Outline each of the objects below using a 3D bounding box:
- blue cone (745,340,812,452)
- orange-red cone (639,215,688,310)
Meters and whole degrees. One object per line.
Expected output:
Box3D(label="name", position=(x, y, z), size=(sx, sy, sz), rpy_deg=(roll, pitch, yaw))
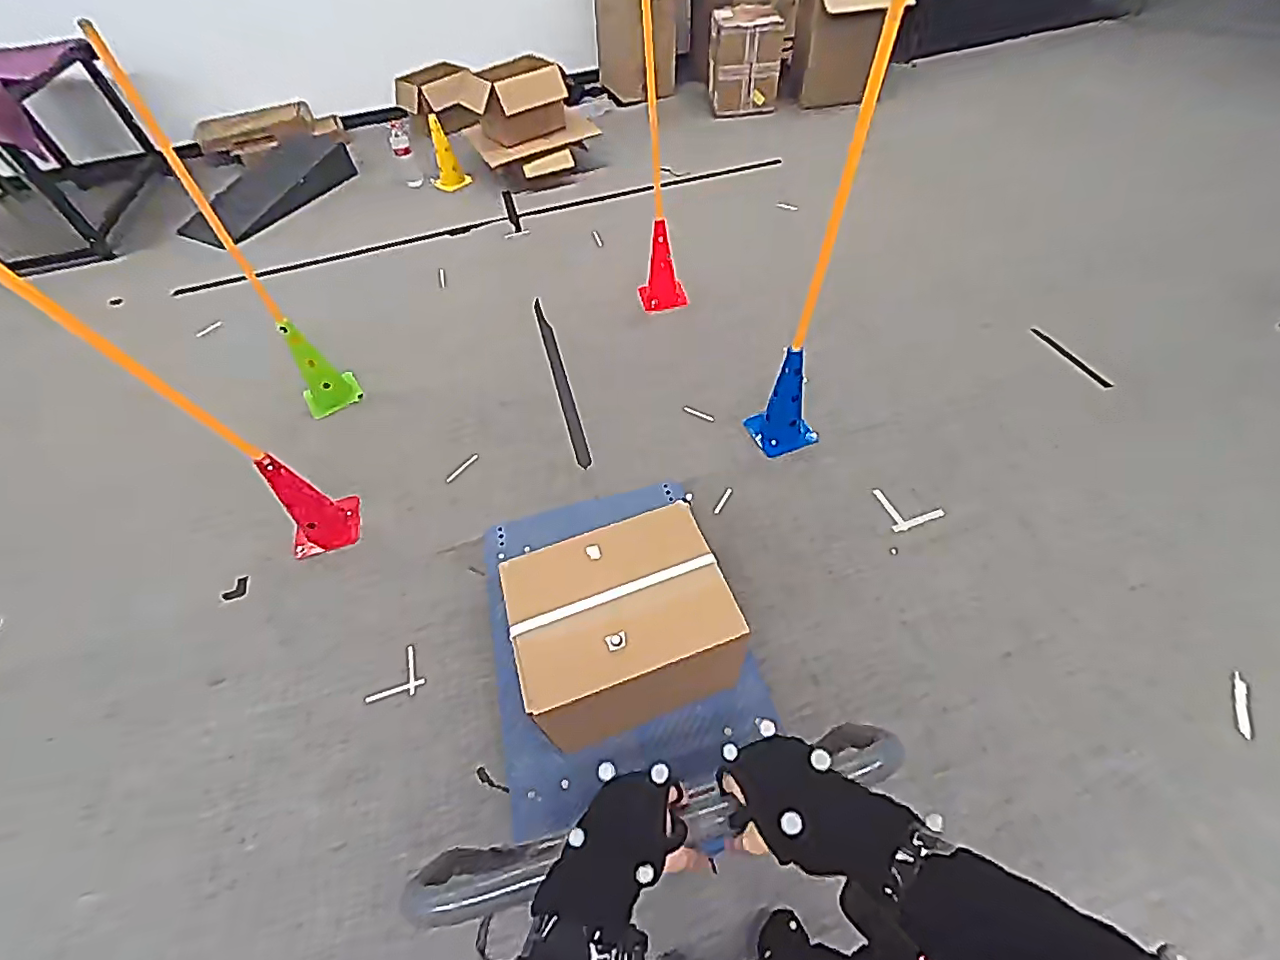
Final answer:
Box3D(label="blue cone", position=(0.473, -0.284, 1.757), size=(0.193, 0.380, 0.192), rpy_deg=(-19, 52, -10))
Box3D(label="orange-red cone", position=(0.093, -0.931, 2.274), size=(0.199, 0.360, 0.198), rpy_deg=(-10, 53, -4))
